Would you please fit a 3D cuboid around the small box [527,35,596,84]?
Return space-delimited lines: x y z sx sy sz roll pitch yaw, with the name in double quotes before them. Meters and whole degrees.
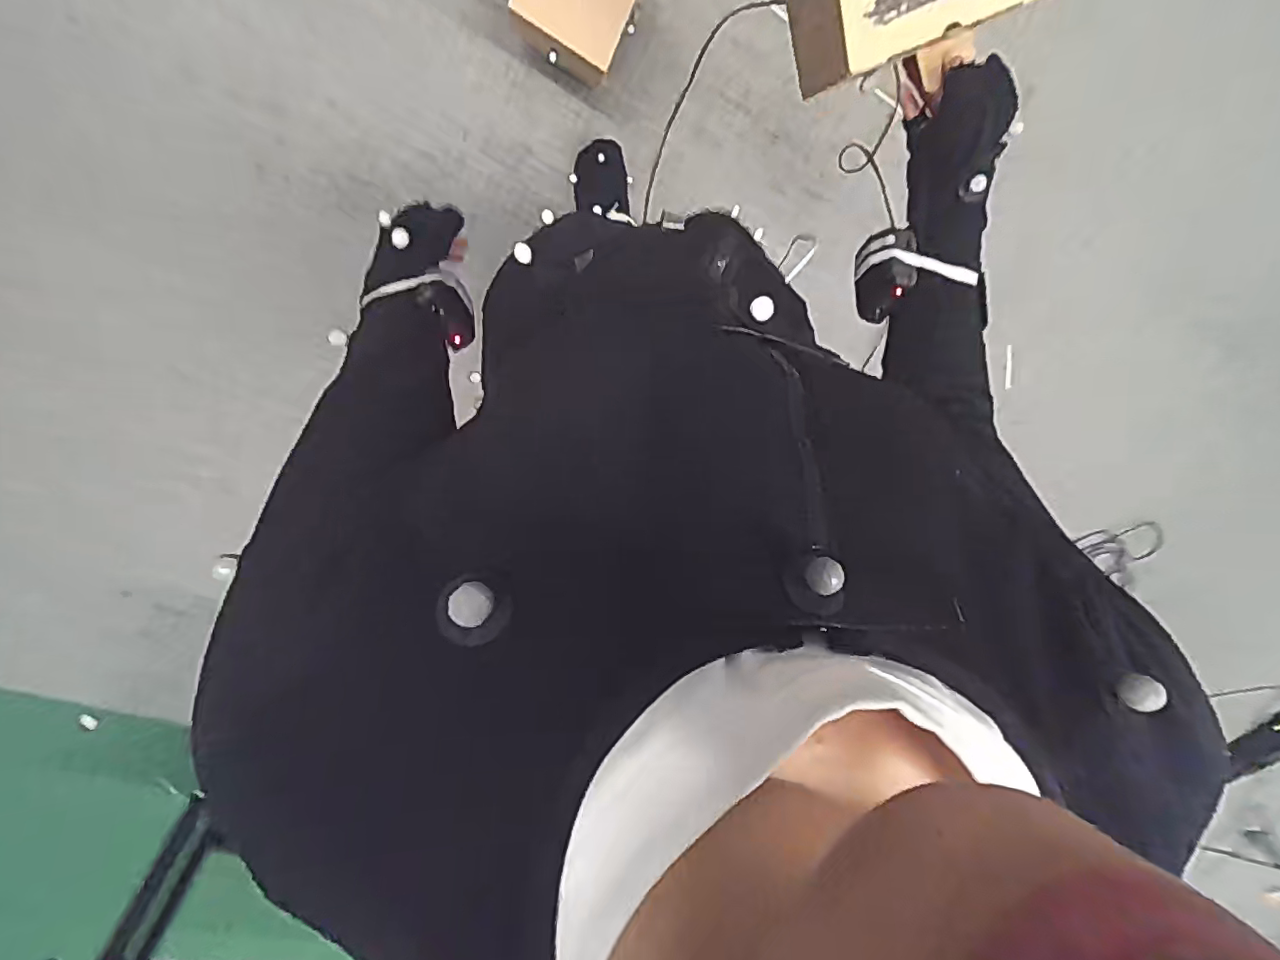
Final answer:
"small box" -0.112 -0.877 0.994 0.168 0.176 0.179 26 113 -20

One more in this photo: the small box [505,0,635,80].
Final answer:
"small box" -0.097 -0.781 0.860 0.168 0.176 0.179 23 113 -19
